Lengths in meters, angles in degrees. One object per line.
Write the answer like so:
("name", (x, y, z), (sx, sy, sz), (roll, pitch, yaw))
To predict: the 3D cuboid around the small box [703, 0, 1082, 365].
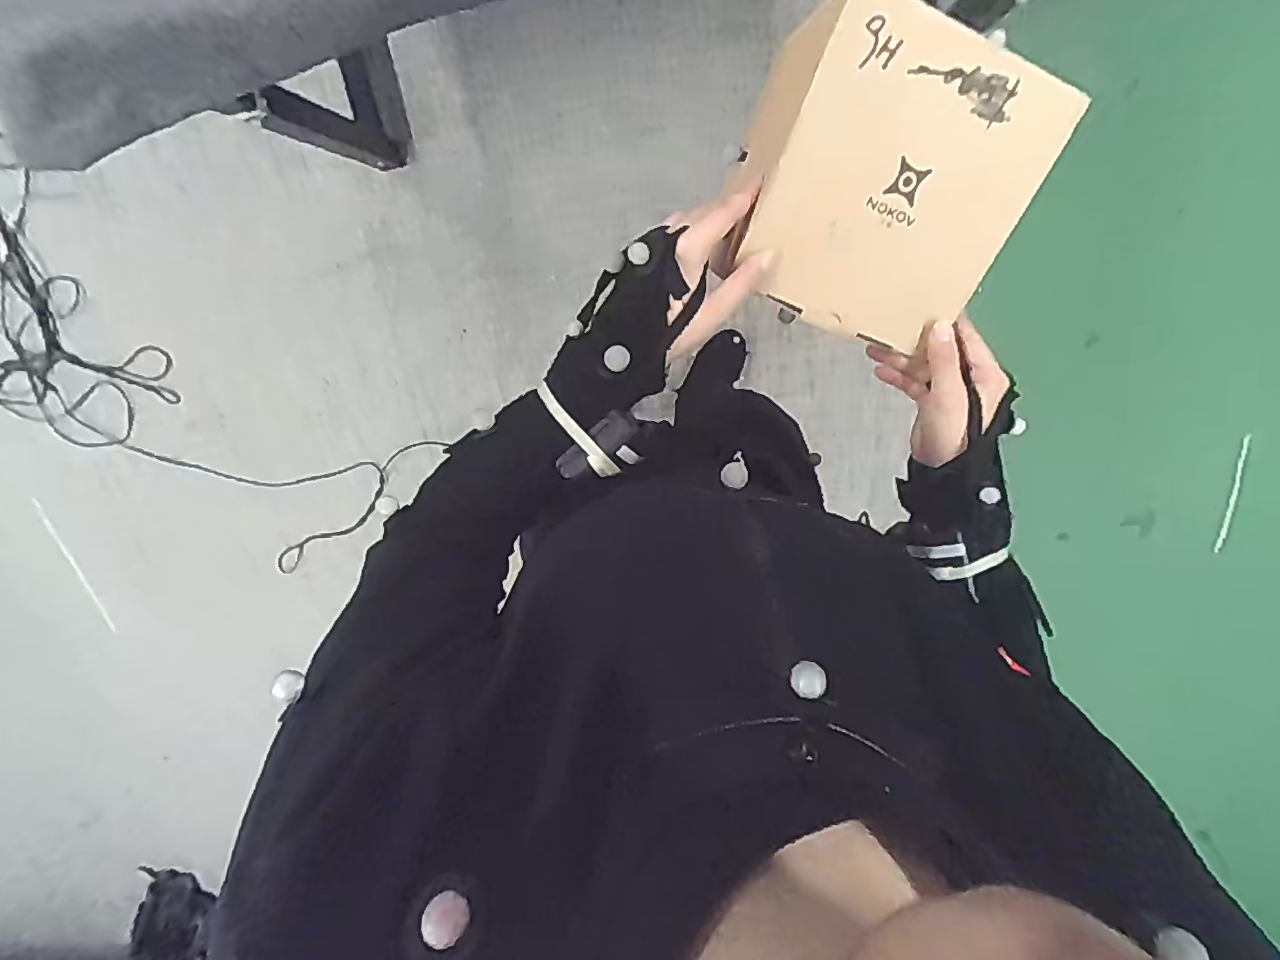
("small box", (0.156, -0.215, 0.411), (0.168, 0.176, 0.179), (17, 116, -10))
